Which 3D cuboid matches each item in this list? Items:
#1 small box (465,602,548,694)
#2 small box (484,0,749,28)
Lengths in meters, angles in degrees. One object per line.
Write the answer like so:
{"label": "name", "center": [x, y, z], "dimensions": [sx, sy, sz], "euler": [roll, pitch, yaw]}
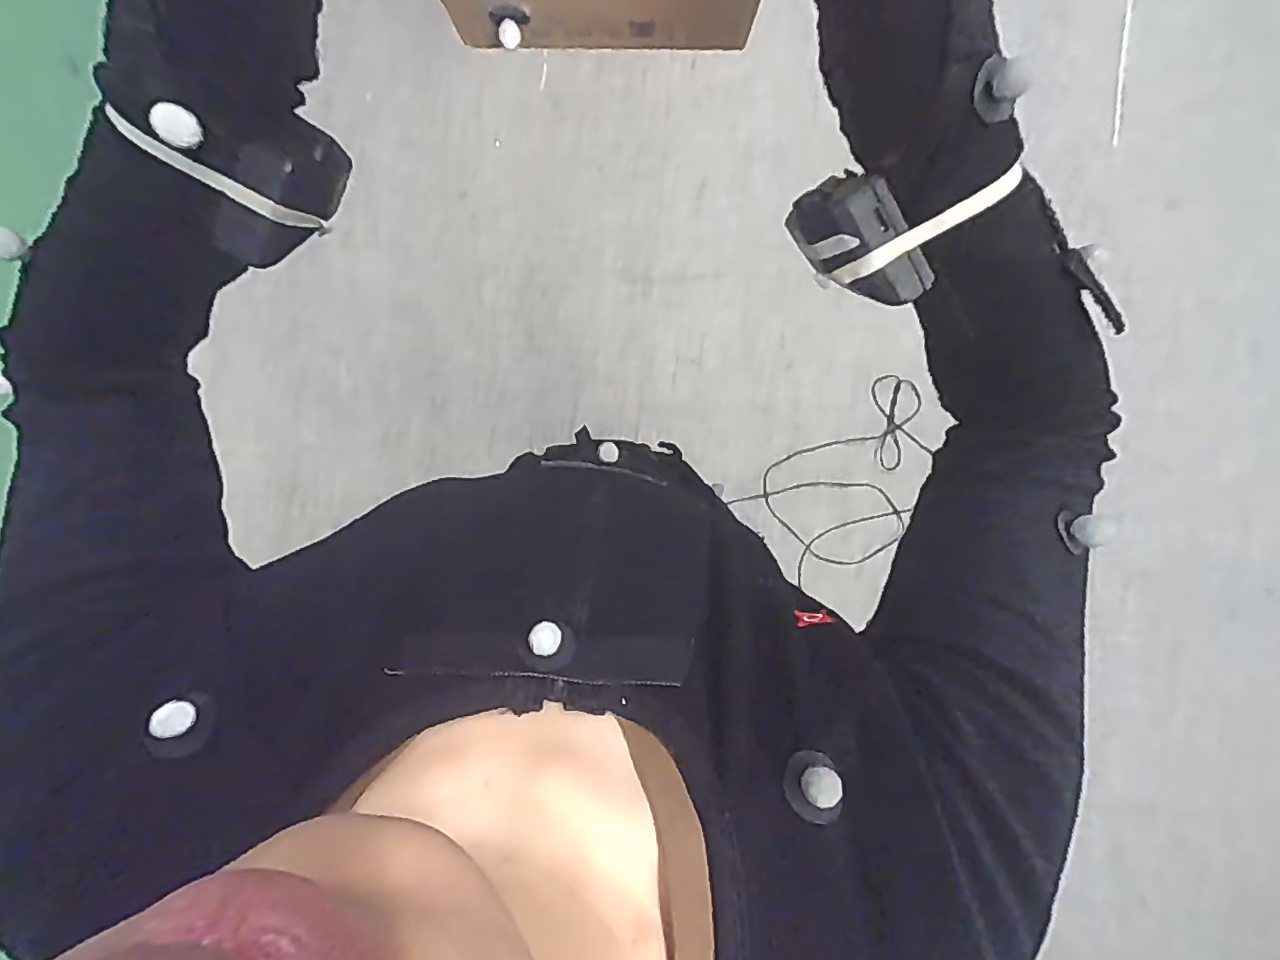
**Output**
{"label": "small box", "center": [-0.341, 0.431, 1.410], "dimensions": [0.168, 0.176, 0.179], "euler": [6, 91, 0]}
{"label": "small box", "center": [-0.018, -0.327, 0.217], "dimensions": [0.168, 0.176, 0.179], "euler": [1, 100, -1]}
